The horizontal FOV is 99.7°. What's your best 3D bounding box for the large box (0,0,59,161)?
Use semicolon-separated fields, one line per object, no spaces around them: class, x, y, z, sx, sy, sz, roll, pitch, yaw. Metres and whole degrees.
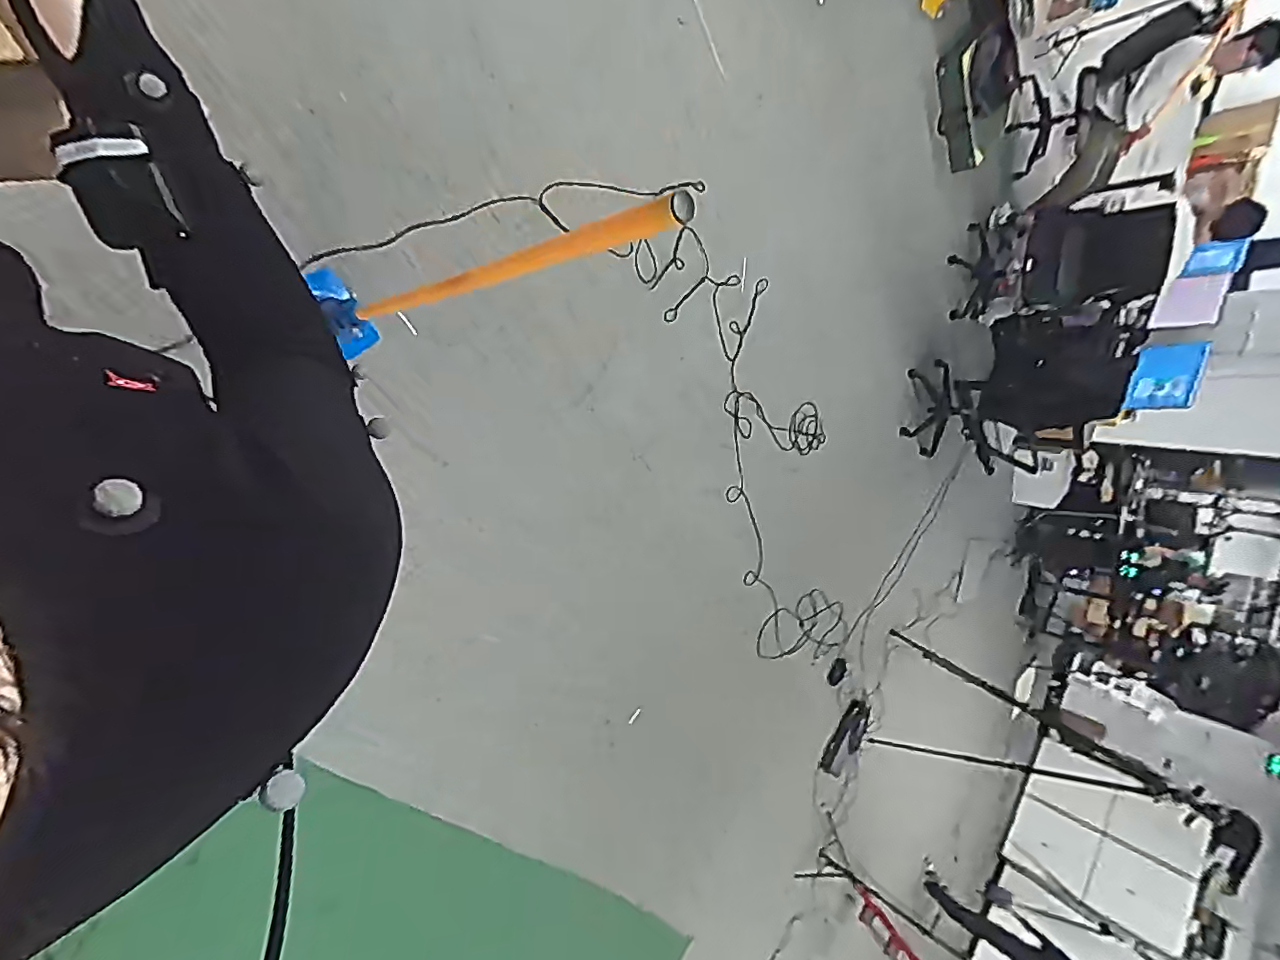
large box;-0.621;-0.345;0.248;0.408;0.320;0.320;-30;121;-38
